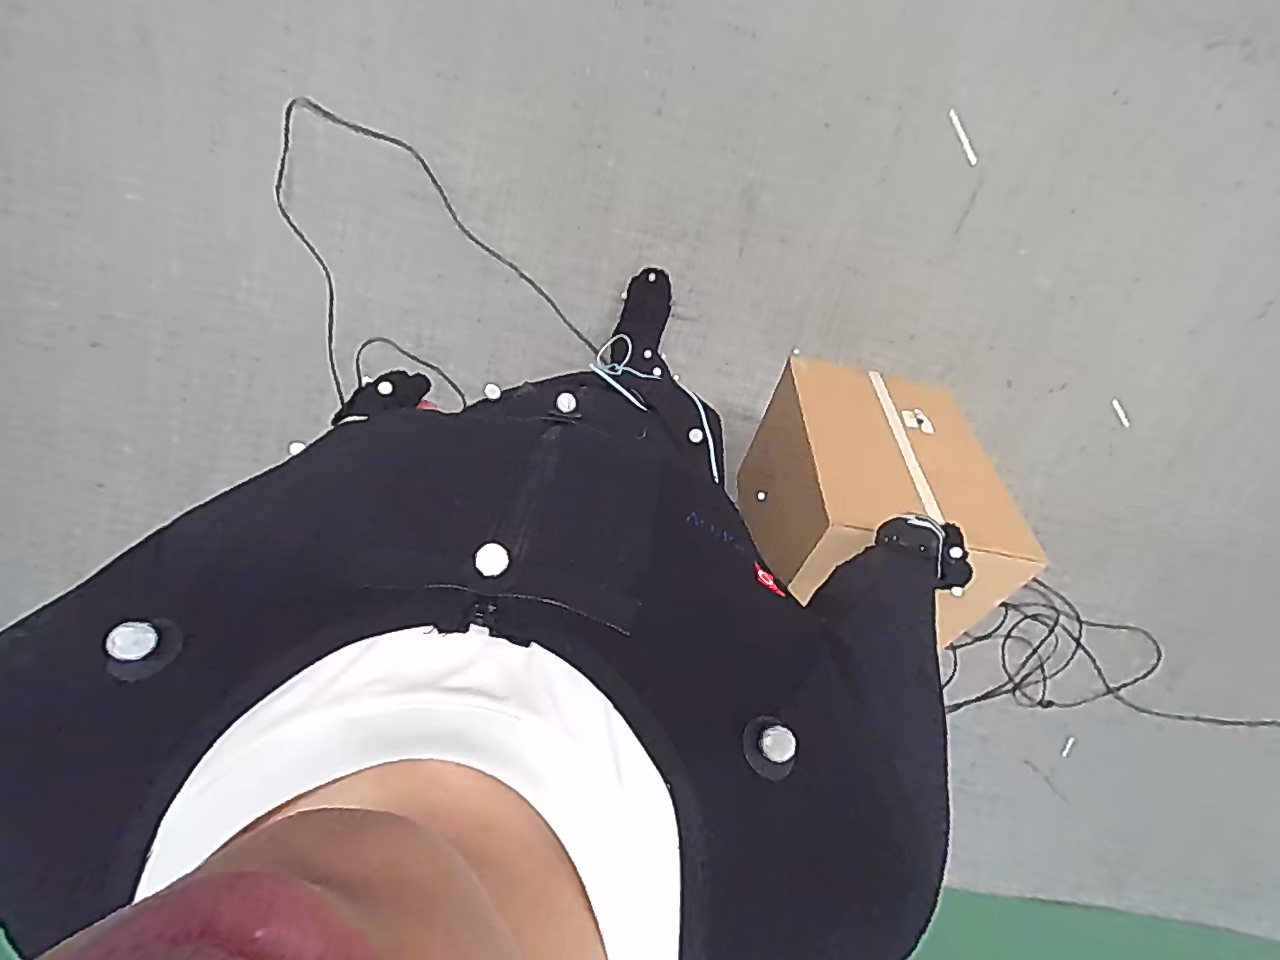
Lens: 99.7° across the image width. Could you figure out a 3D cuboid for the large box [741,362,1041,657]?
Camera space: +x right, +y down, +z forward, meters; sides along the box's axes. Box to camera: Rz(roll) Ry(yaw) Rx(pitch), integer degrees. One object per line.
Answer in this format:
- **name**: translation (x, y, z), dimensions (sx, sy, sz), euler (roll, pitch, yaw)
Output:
- **large box**: translation (0.384, 0.050, 0.966), dimensions (0.320, 0.408, 0.320), euler (11, 134, -5)
